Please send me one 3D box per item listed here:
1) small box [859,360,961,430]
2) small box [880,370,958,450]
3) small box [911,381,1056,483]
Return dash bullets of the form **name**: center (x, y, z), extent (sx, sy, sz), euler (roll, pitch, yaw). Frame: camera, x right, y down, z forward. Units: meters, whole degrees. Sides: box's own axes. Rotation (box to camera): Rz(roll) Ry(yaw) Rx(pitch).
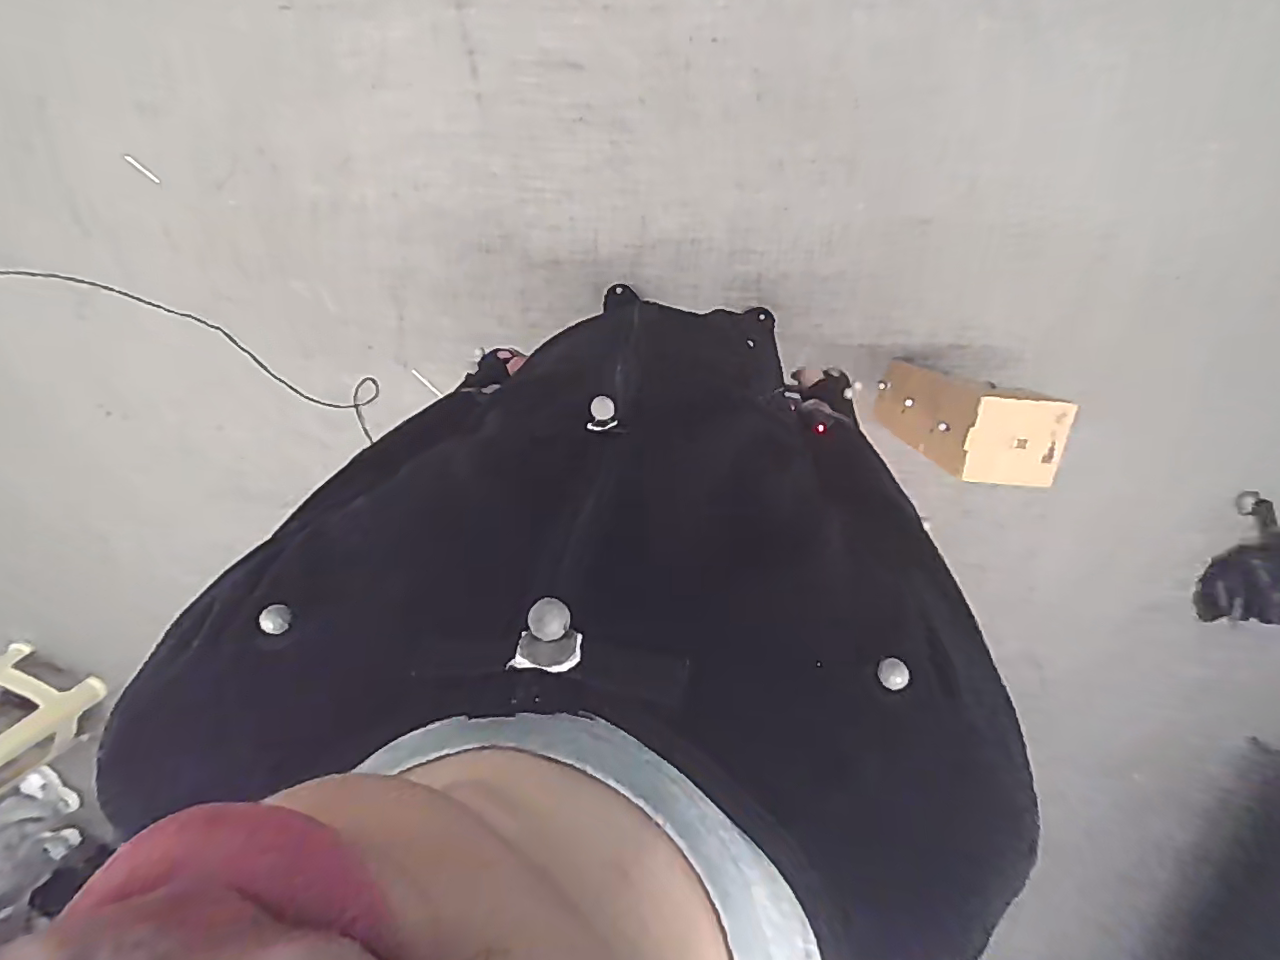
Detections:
- **small box**: center (0.711, -0.212, 1.427), extent (0.179, 0.176, 0.168), euler (13, 110, -1)
- **small box**: center (0.703, -0.152, 1.274), extent (0.179, 0.176, 0.168), euler (14, 110, -2)
- **small box**: center (0.694, -0.106, 1.118), extent (0.179, 0.176, 0.168), euler (6, 110, 1)
